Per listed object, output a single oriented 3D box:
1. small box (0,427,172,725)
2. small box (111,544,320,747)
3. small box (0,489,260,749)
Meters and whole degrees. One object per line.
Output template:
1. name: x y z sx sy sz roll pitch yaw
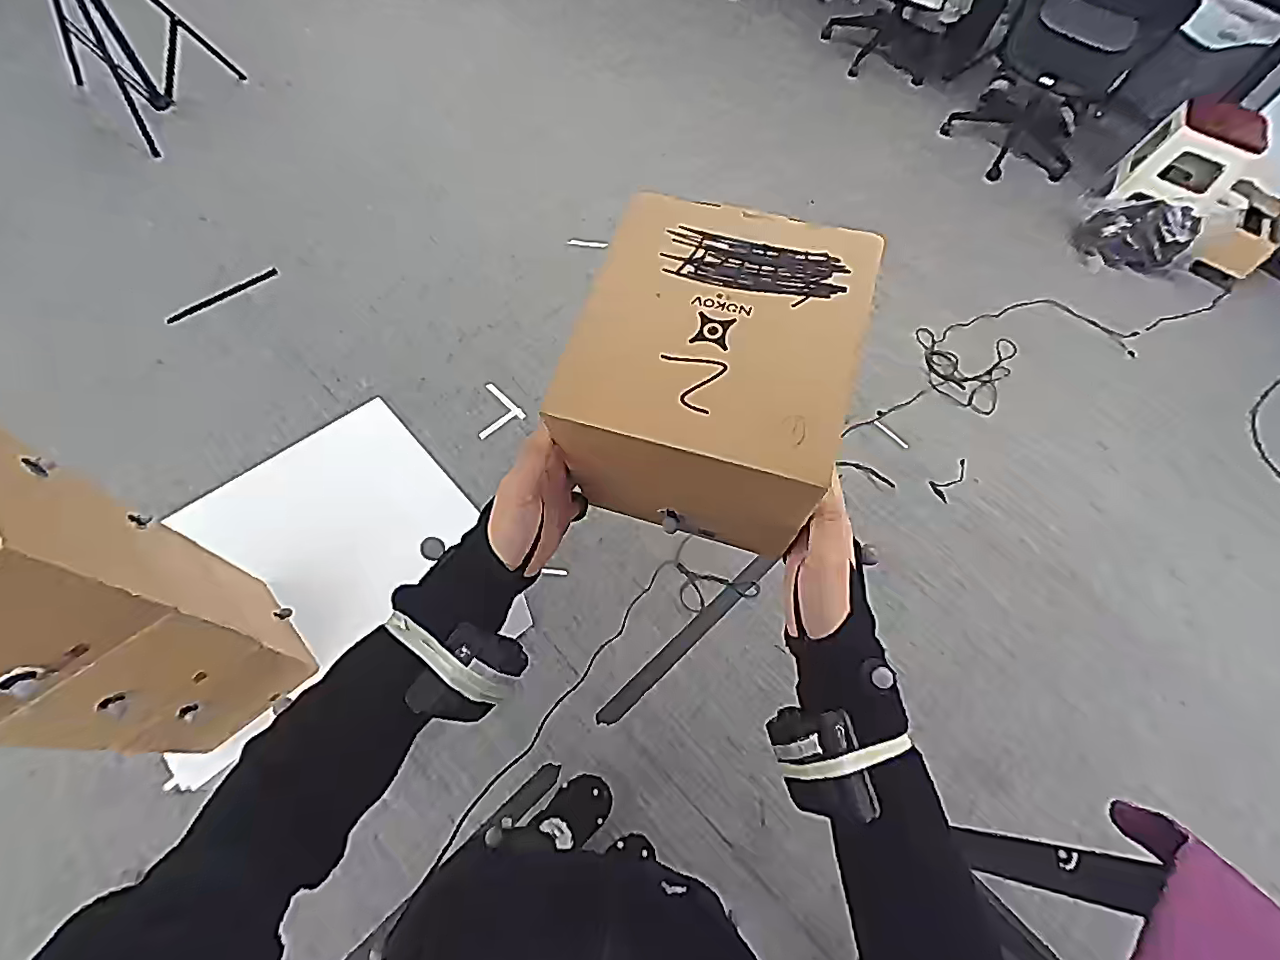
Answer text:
1. small box: -0.529 0.070 0.414 0.168 0.176 0.179 -40 74 -22
2. small box: -0.563 0.221 0.701 0.168 0.176 0.179 -38 72 -23
3. small box: -0.545 0.147 0.557 0.168 0.176 0.179 -40 73 -23
